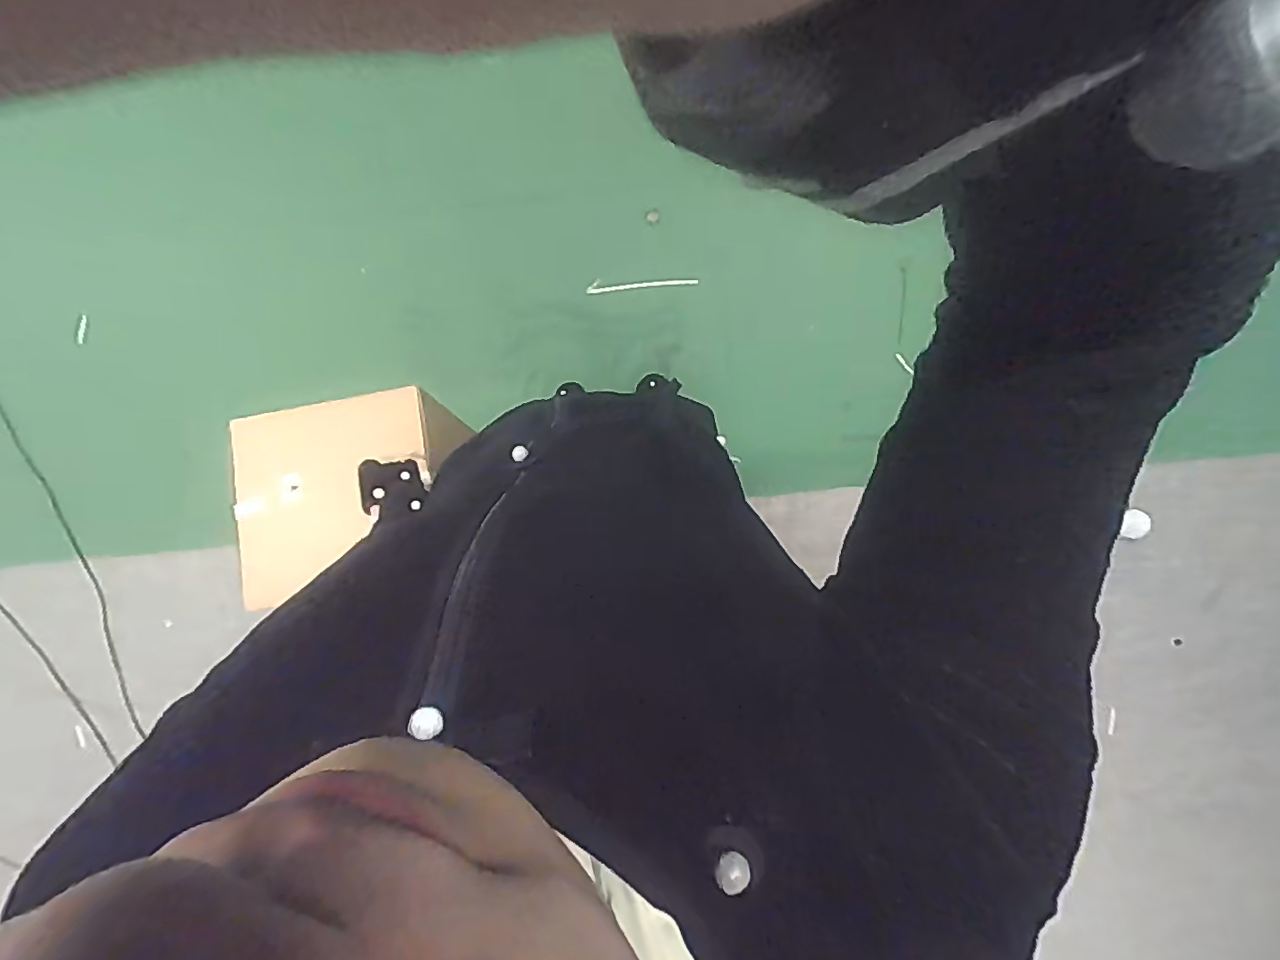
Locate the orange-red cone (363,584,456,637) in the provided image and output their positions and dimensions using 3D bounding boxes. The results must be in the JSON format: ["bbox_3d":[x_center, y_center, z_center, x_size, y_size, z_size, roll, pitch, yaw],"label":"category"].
[{"bbox_3d":[-0.672,0.348,1.515,0.199,0.360,0.198,2,99,0],"label":"orange-red cone"}]

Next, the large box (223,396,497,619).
[{"bbox_3d":[-0.497,0.068,1.042,0.320,0.408,0.320,-10,81,-3],"label":"large box"}]
